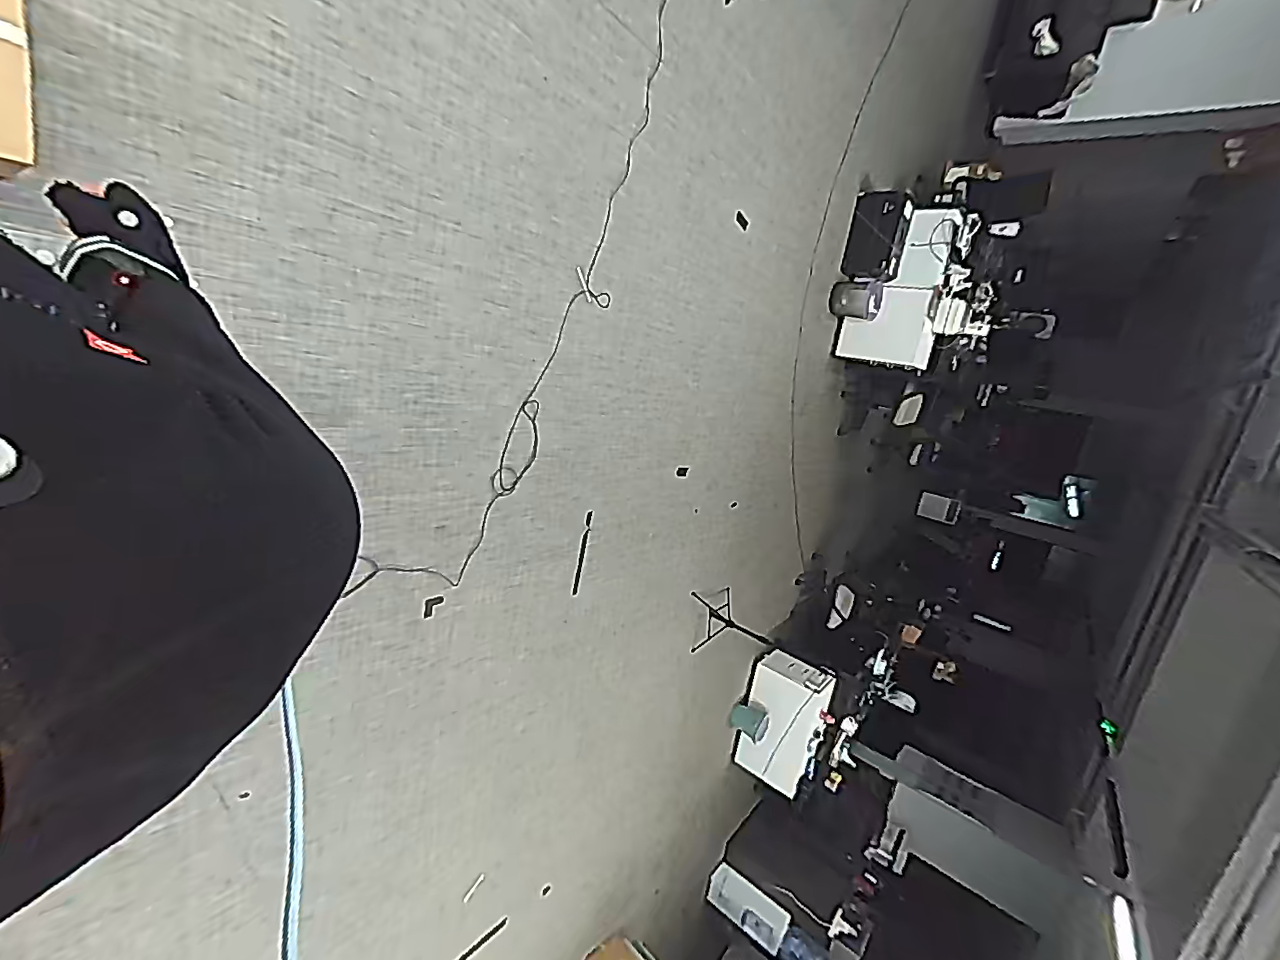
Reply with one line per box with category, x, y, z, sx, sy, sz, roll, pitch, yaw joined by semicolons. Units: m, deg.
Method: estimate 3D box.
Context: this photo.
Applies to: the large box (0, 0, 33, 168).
large box;-1.067;-0.622;0.654;0.408;0.320;0.320;-7;112;-53
